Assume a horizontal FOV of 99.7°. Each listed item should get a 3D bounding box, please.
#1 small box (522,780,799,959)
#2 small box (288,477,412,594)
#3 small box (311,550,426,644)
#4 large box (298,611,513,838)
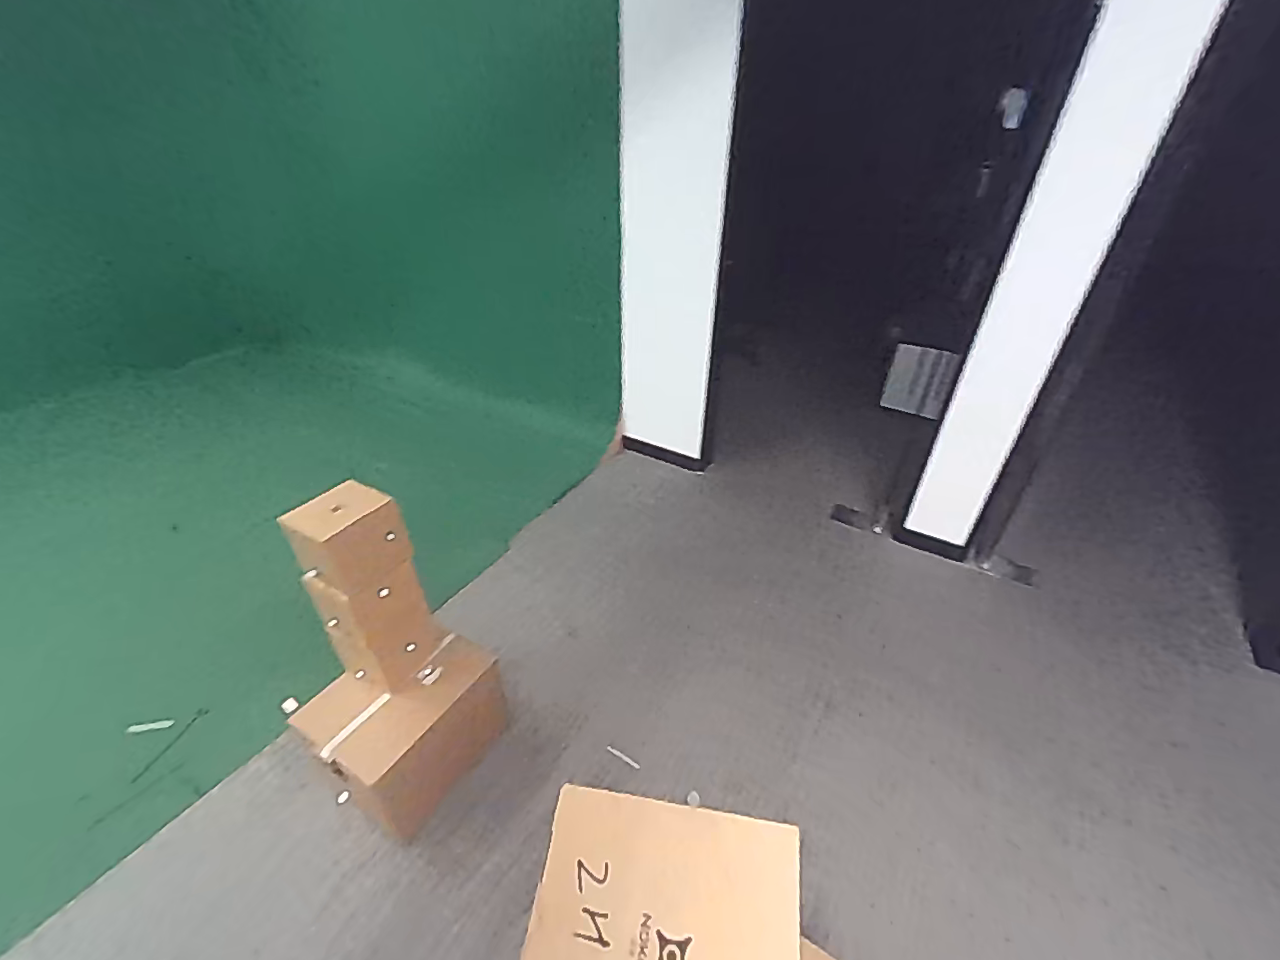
[{"bbox_3d":[0.019,0.345,0.410,0.179,0.176,0.168,4,53,10],"label":"small box"},{"bbox_3d":[-0.648,0.124,1.234,0.168,0.176,0.179,18,40,28],"label":"small box"},{"bbox_3d":[-0.651,0.262,1.322,0.168,0.176,0.179,17,39,26],"label":"small box"},{"bbox_3d":[-0.611,0.649,1.479,0.320,0.320,0.408,19,38,25],"label":"large box"}]
